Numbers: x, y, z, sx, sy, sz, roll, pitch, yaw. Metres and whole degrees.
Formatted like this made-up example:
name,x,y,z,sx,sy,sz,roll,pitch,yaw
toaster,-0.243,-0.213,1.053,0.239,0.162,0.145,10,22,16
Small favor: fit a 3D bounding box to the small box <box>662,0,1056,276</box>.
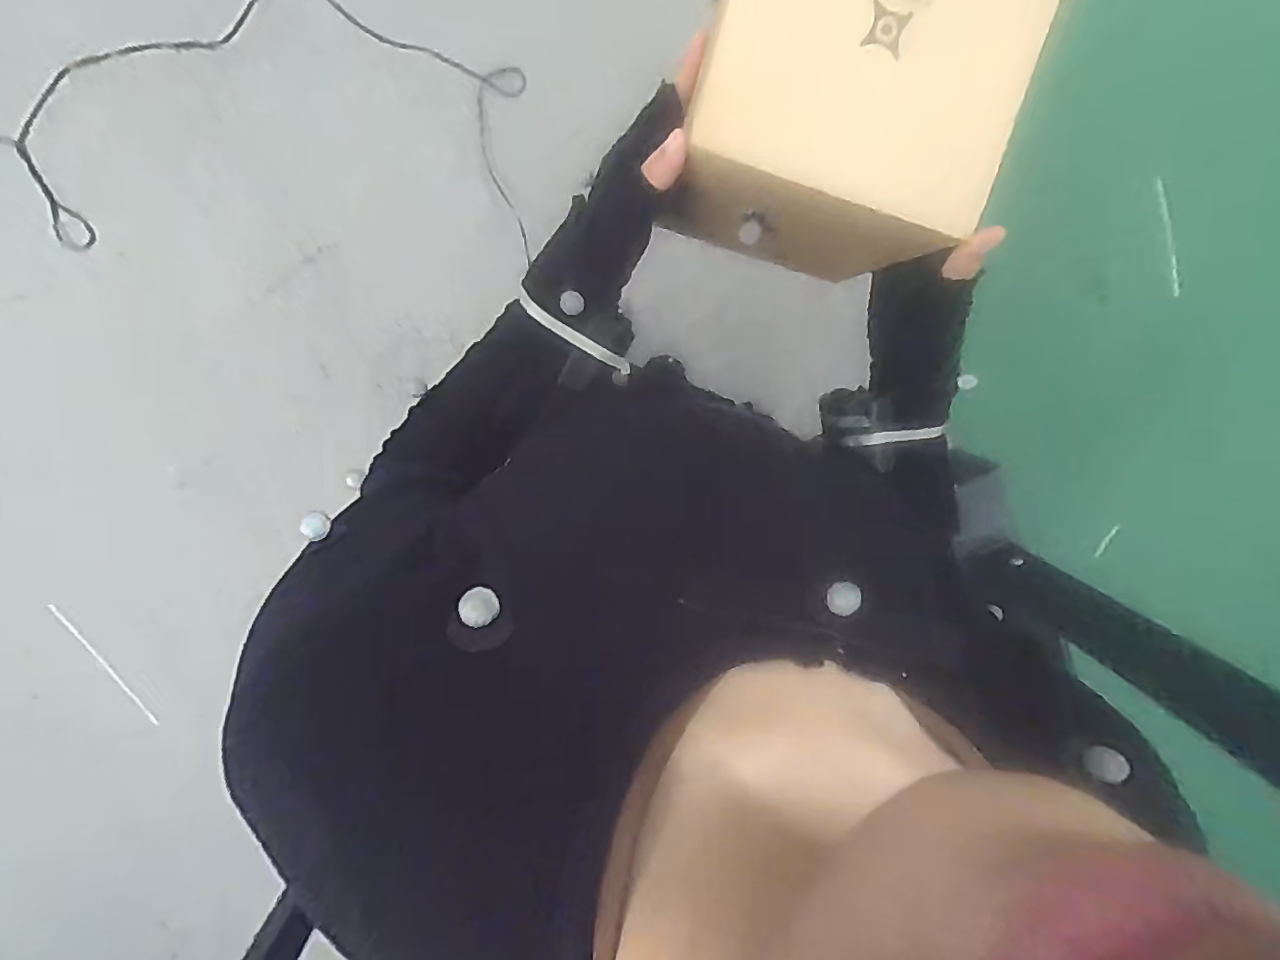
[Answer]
name,x,y,z,sx,sy,sz,roll,pitch,yaw
small box,0.117,-0.247,0.346,0.168,0.176,0.179,13,99,-8
